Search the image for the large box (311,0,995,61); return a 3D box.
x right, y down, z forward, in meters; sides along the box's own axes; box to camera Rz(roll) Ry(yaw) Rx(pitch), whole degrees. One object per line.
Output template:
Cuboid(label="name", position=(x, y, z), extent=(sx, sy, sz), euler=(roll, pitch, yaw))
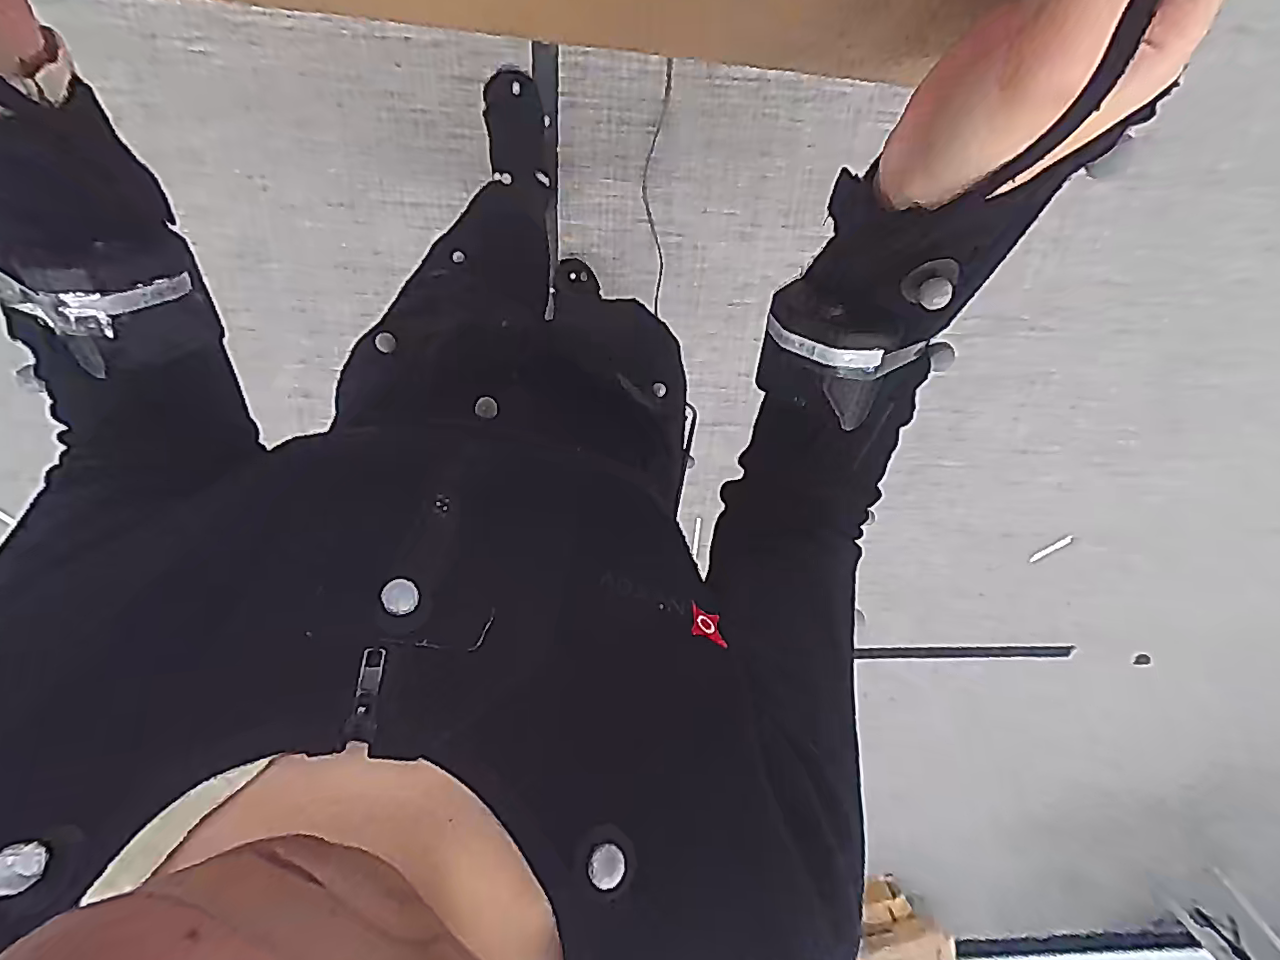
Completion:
Cuboid(label="large box", position=(-0.035, -0.341, 0.095), extent=(0.408, 0.320, 0.320), euler=(5, 106, -2))
